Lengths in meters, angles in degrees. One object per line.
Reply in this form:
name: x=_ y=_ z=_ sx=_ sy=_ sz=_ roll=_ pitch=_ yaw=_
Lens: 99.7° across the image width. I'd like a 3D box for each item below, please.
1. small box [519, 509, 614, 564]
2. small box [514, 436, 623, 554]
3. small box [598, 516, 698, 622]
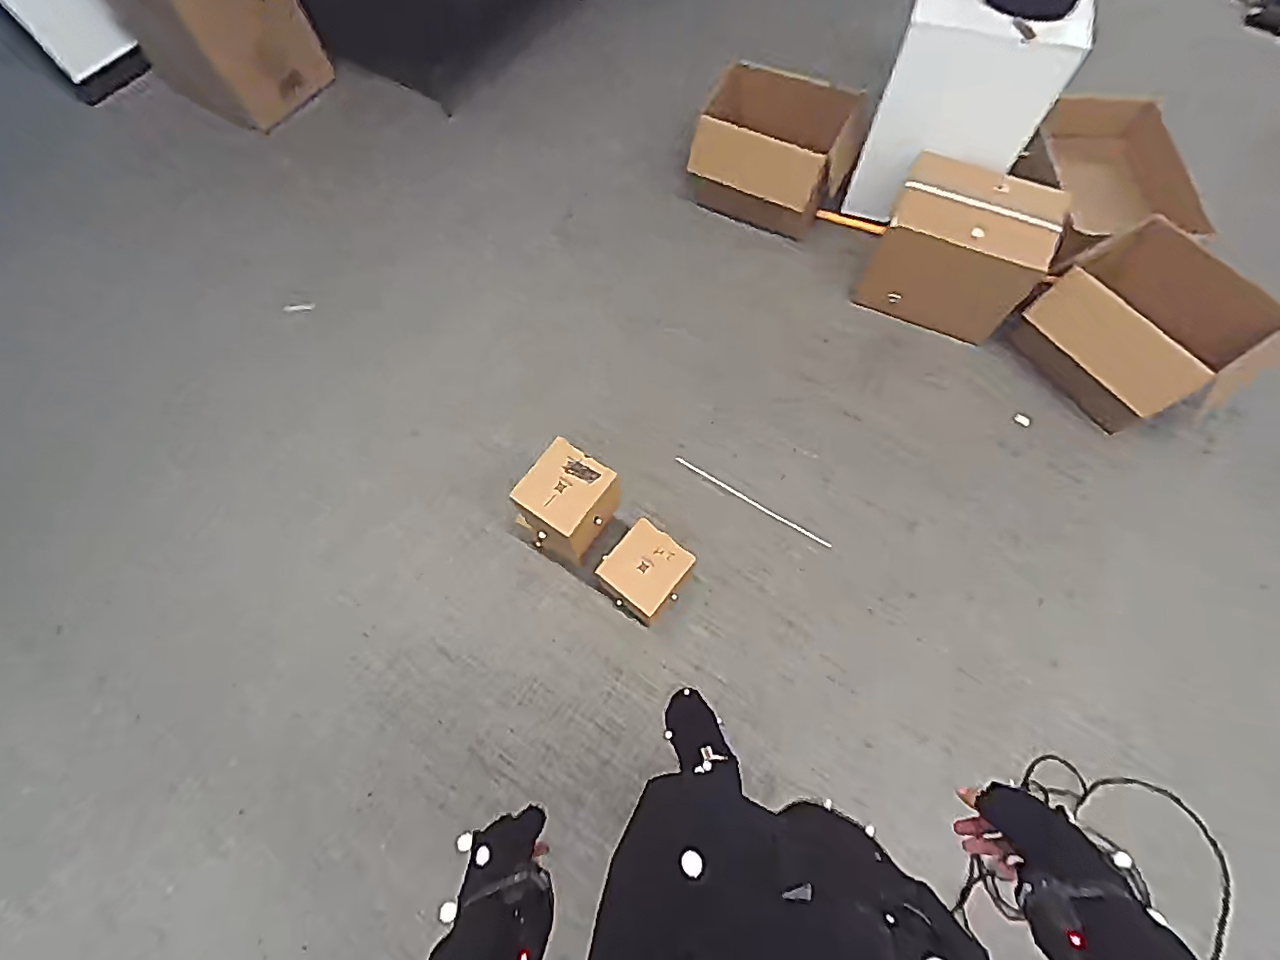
small box: x=-0.177 y=0.092 z=1.377 sx=0.168 sy=0.176 sz=0.179 roll=26 pitch=70 yaw=13
small box: x=-0.152 y=0.040 z=1.219 sx=0.168 sy=0.176 sz=0.179 roll=33 pitch=73 yaw=15
small box: x=0.022 y=0.224 z=1.312 sx=0.168 sy=0.176 sz=0.179 roll=37 pitch=73 yaw=15
